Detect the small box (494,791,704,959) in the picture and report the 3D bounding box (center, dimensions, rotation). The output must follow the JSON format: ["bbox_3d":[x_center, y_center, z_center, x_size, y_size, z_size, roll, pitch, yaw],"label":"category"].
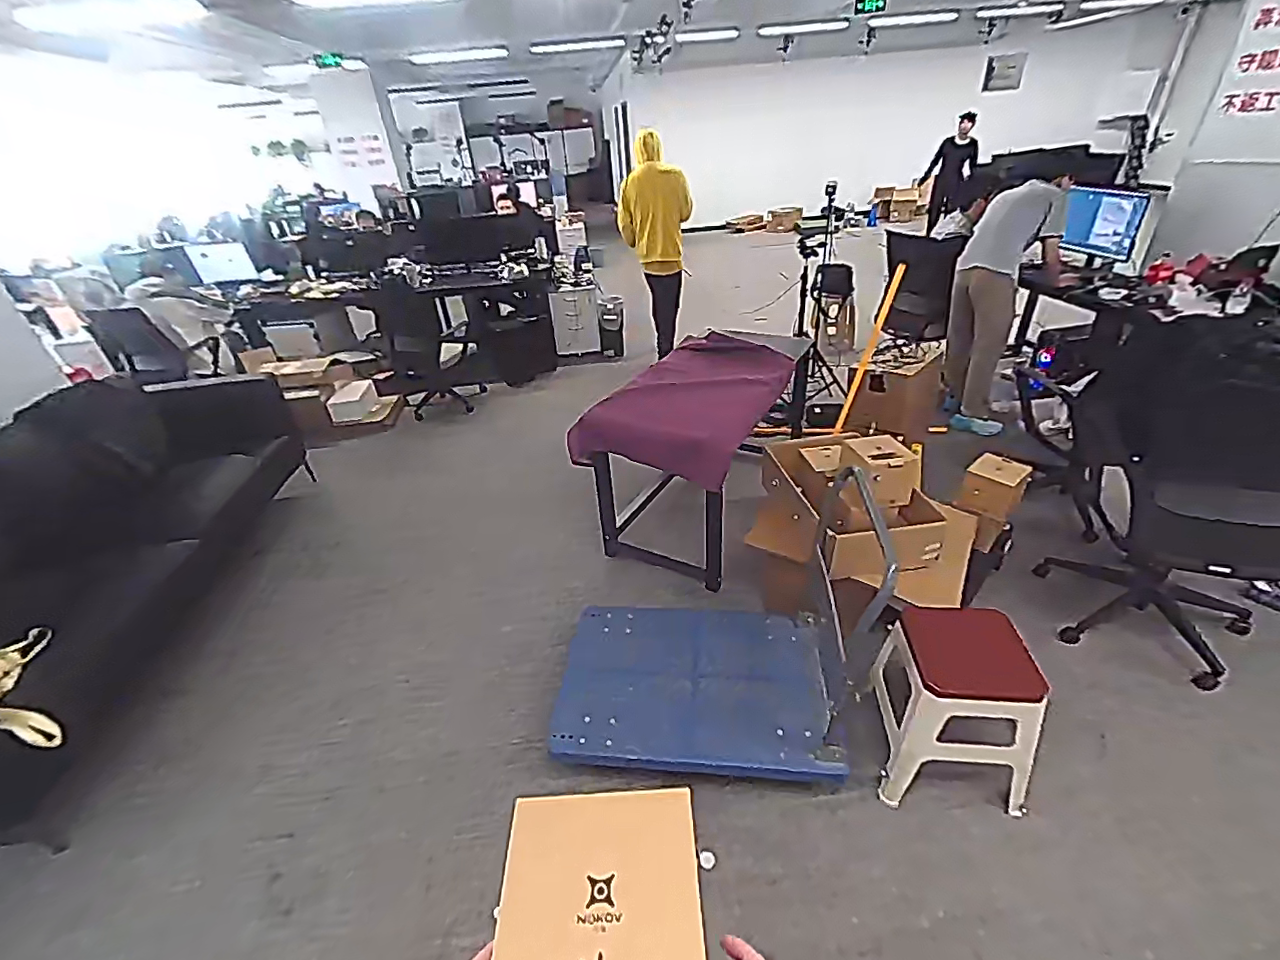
[{"bbox_3d":[-0.027,0.415,0.491,0.168,0.176,0.179,-4,35,2],"label":"small box"}]
